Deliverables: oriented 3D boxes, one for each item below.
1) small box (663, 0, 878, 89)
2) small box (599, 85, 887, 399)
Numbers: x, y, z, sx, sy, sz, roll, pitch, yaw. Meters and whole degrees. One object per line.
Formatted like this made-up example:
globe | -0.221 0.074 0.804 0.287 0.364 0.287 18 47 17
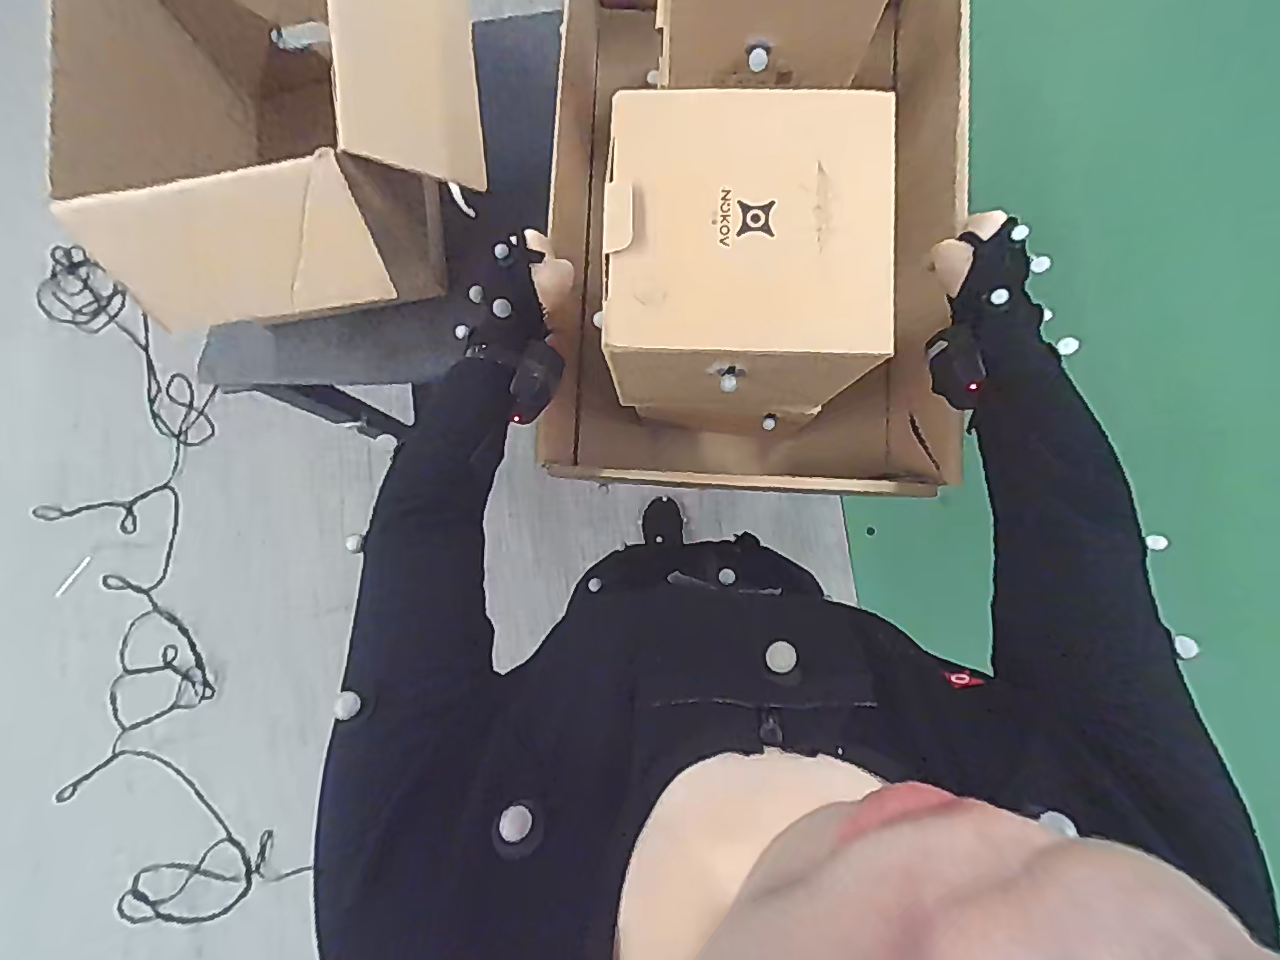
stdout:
small box | 0.106 -0.451 0.422 0.168 0.176 0.179 3 89 2
small box | 0.067 -0.160 0.415 0.179 0.176 0.168 2 88 1
